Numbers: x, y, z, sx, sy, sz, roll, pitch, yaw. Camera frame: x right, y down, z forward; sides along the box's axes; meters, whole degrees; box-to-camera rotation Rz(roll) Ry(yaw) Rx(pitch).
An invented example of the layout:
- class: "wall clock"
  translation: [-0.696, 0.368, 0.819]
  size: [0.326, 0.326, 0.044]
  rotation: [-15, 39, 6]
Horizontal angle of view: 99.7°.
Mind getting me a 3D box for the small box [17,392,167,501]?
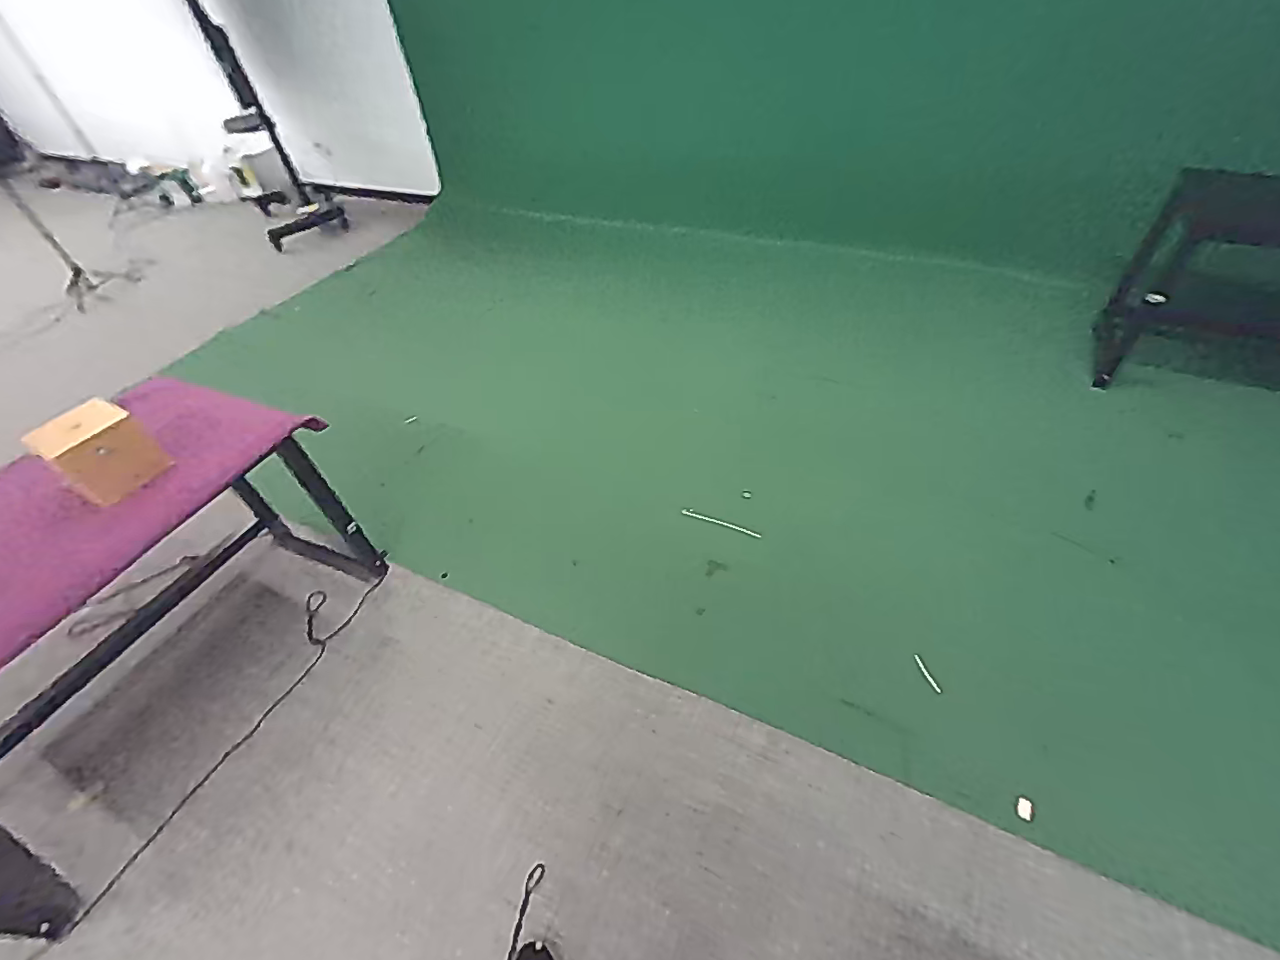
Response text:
- class: "small box"
  translation: [-1.316, -0.081, 1.318]
  size: [0.168, 0.176, 0.179]
  rotation: [21, 52, 22]
